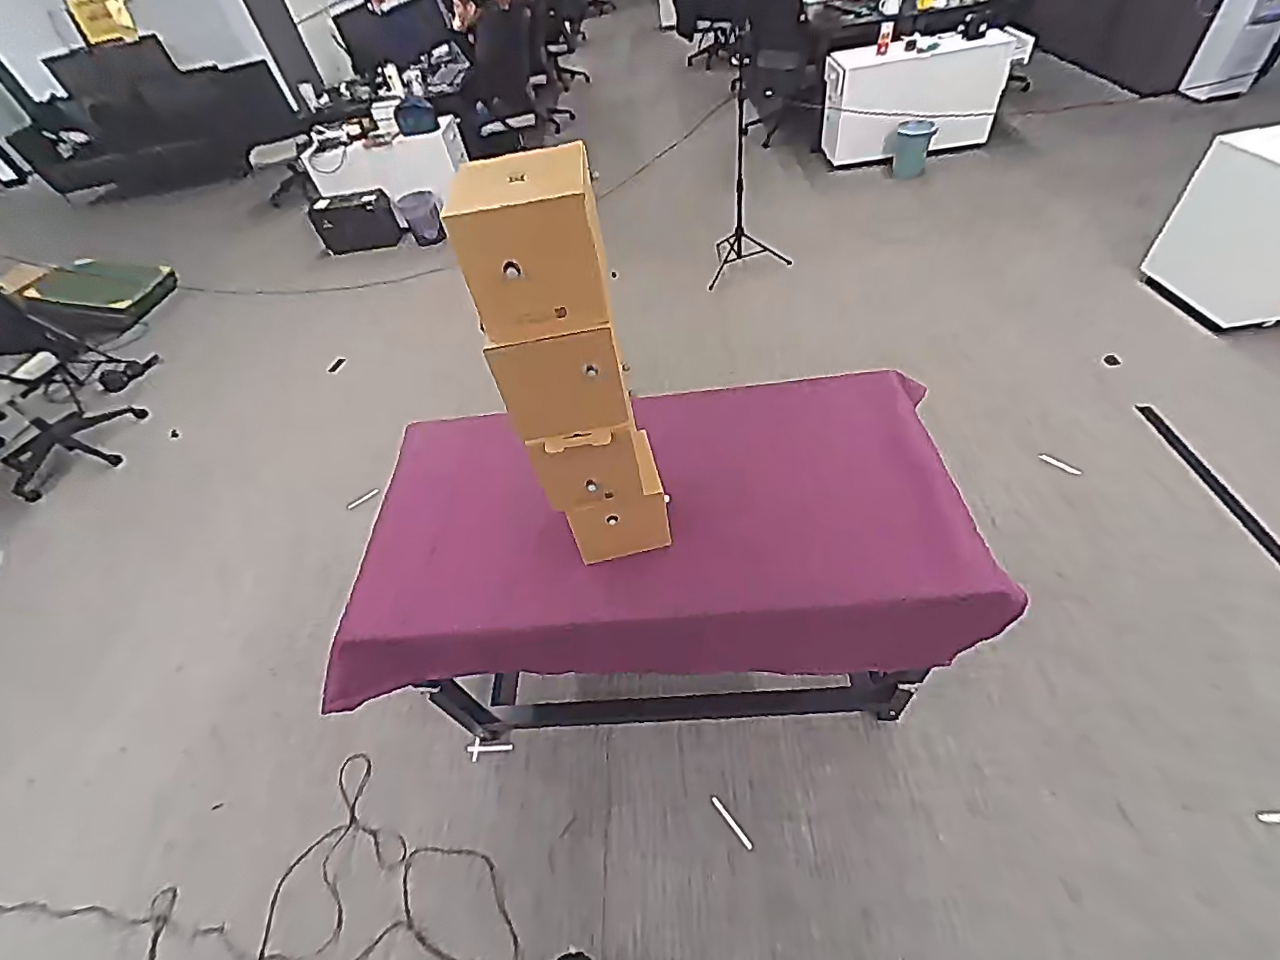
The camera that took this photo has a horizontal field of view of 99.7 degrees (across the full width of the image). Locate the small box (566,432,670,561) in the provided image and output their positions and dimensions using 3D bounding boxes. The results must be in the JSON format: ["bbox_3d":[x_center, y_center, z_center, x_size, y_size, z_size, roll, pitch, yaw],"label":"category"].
[{"bbox_3d":[-0.047,0.036,1.052,0.179,0.176,0.168,-12,48,-2],"label":"small box"}]

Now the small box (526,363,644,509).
[{"bbox_3d":[-0.089,-0.074,0.936,0.168,0.176,0.179,-9,48,3],"label":"small box"}]

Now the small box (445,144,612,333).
[{"bbox_3d":[-0.132,-0.308,0.710,0.168,0.176,0.179,-8,47,3],"label":"small box"}]
